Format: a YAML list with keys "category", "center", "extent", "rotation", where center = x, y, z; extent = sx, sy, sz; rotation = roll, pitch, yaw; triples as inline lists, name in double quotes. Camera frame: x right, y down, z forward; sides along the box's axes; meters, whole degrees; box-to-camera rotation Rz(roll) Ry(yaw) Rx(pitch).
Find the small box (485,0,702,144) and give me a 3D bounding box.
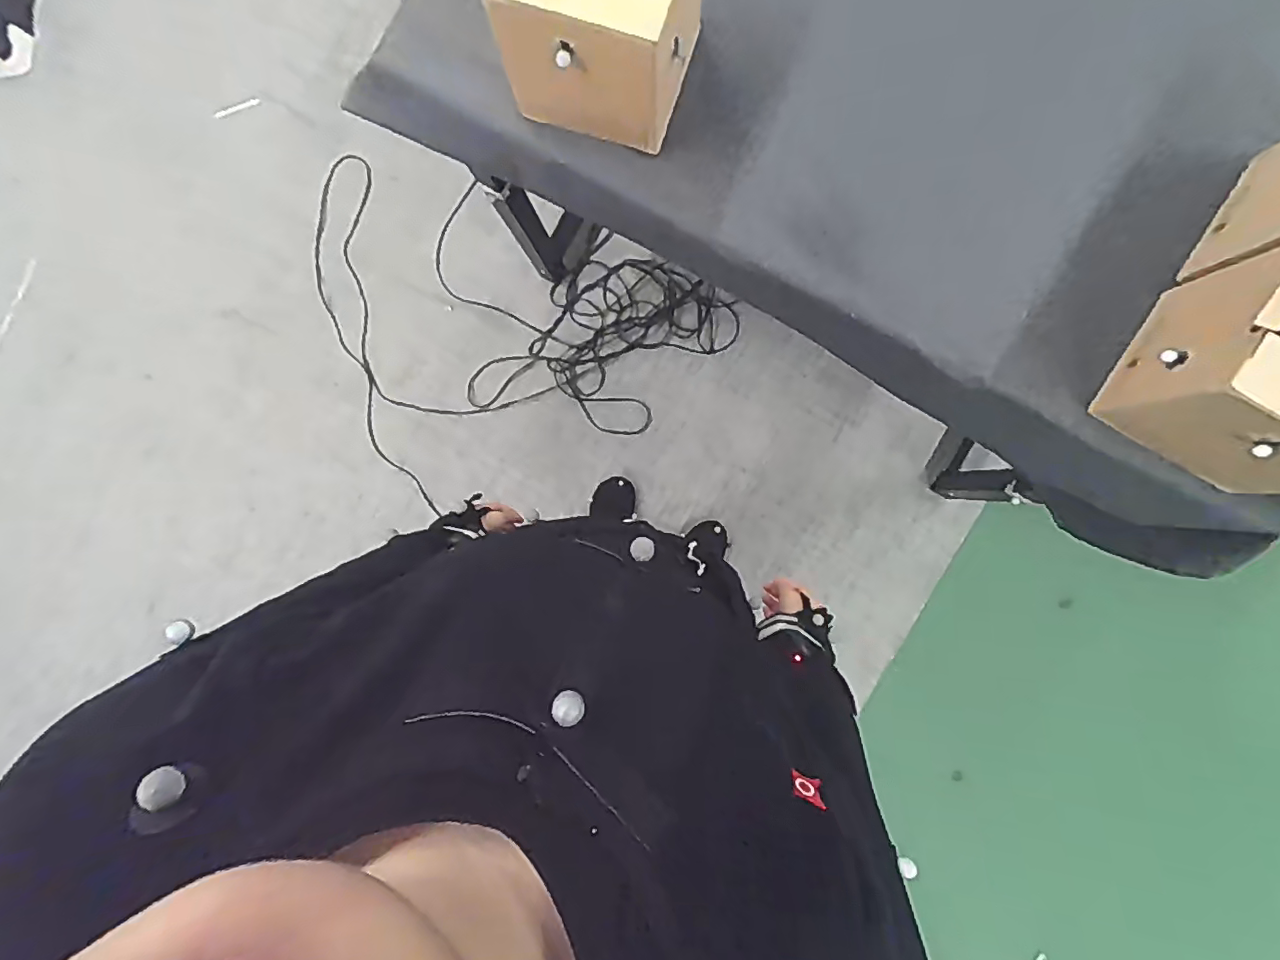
- category: "small box"
  center: [-0.036, -0.495, 0.568]
  extent: [0.179, 0.176, 0.168]
  rotation: [19, 90, 3]
